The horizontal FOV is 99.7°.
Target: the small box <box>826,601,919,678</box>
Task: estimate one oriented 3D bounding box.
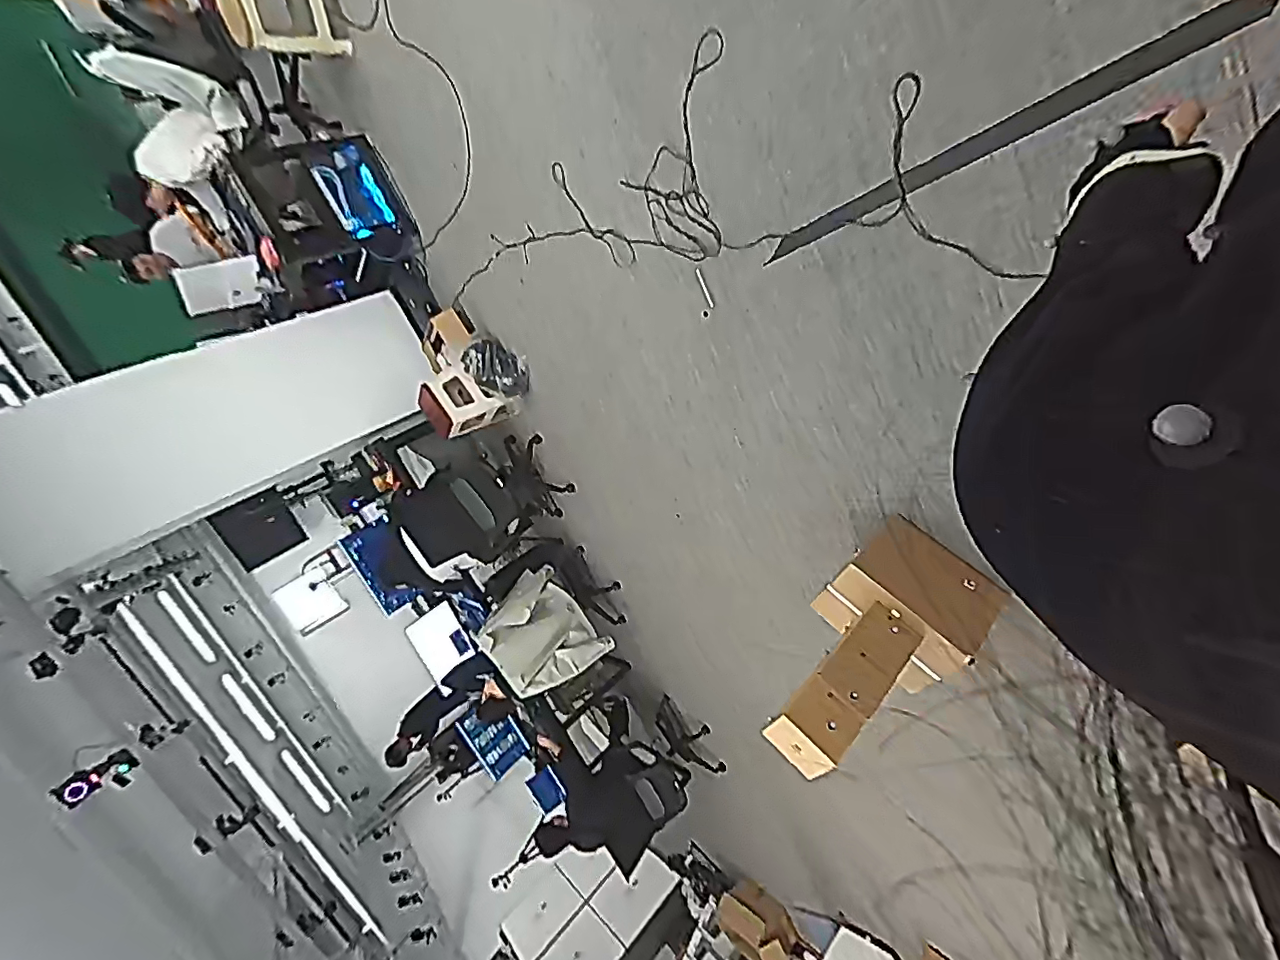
[{"bbox_3d":[0.697,0.497,1.618,0.168,0.176,0.179,42,145,22],"label":"small box"}]

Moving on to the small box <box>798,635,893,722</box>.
[{"bbox_3d":[0.581,0.578,1.534,0.168,0.176,0.179,42,146,21],"label":"small box"}]

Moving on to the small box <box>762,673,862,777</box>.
[{"bbox_3d":[0.463,0.652,1.449,0.168,0.176,0.179,41,146,22],"label":"small box"}]
